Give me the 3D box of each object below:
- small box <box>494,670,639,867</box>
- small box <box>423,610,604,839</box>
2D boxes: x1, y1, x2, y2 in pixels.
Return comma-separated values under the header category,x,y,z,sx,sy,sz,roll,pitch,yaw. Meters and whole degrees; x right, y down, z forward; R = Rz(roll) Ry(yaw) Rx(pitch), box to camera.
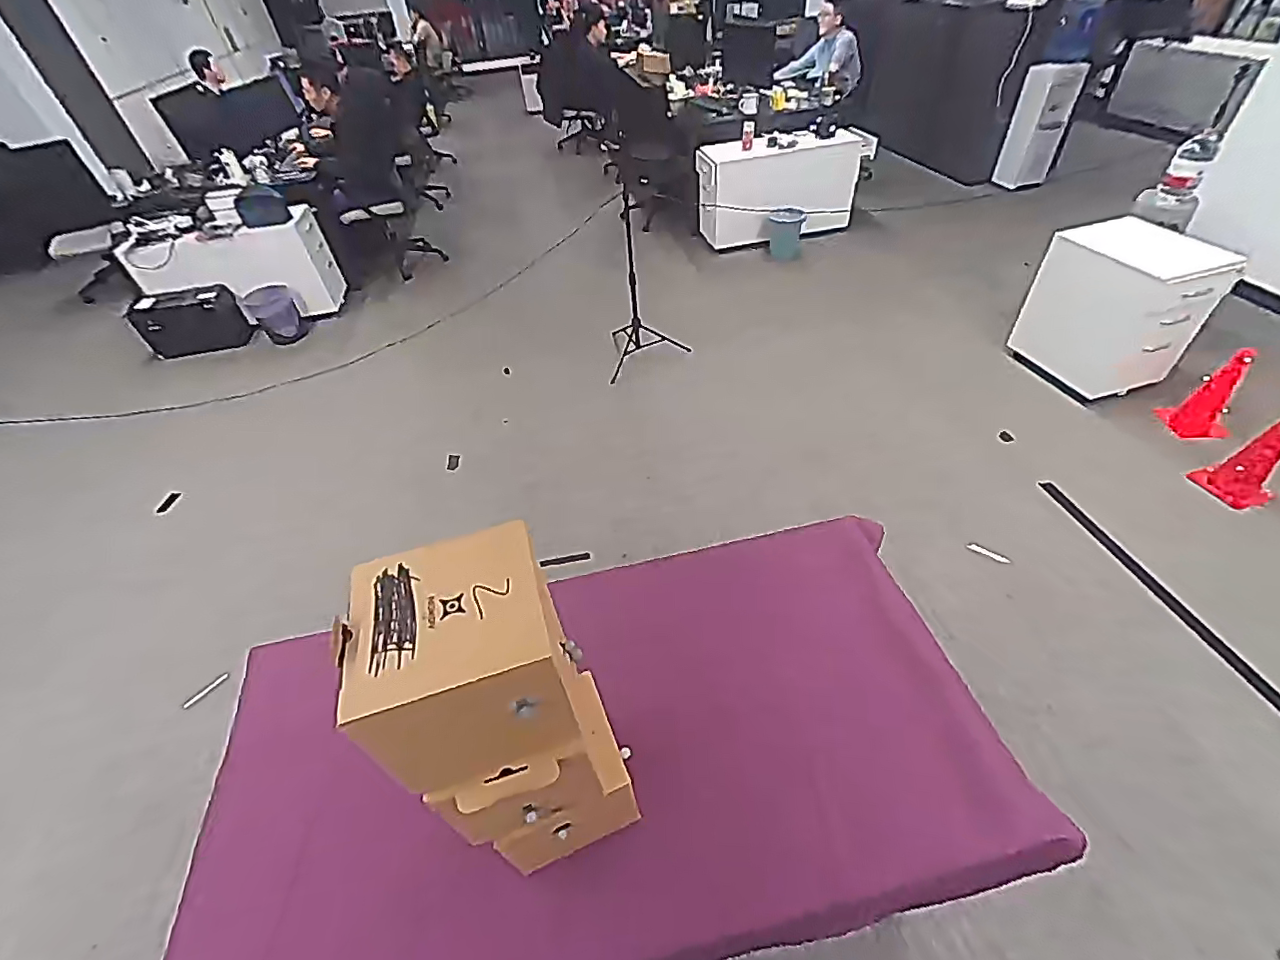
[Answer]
category,x,y,z,sx,sy,sz,roll,pitch,yaw
small box,-0.113,0.409,0.764,0.179,0.176,0.168,-19,46,-13
small box,-0.149,0.293,0.651,0.168,0.176,0.179,-16,45,-8
